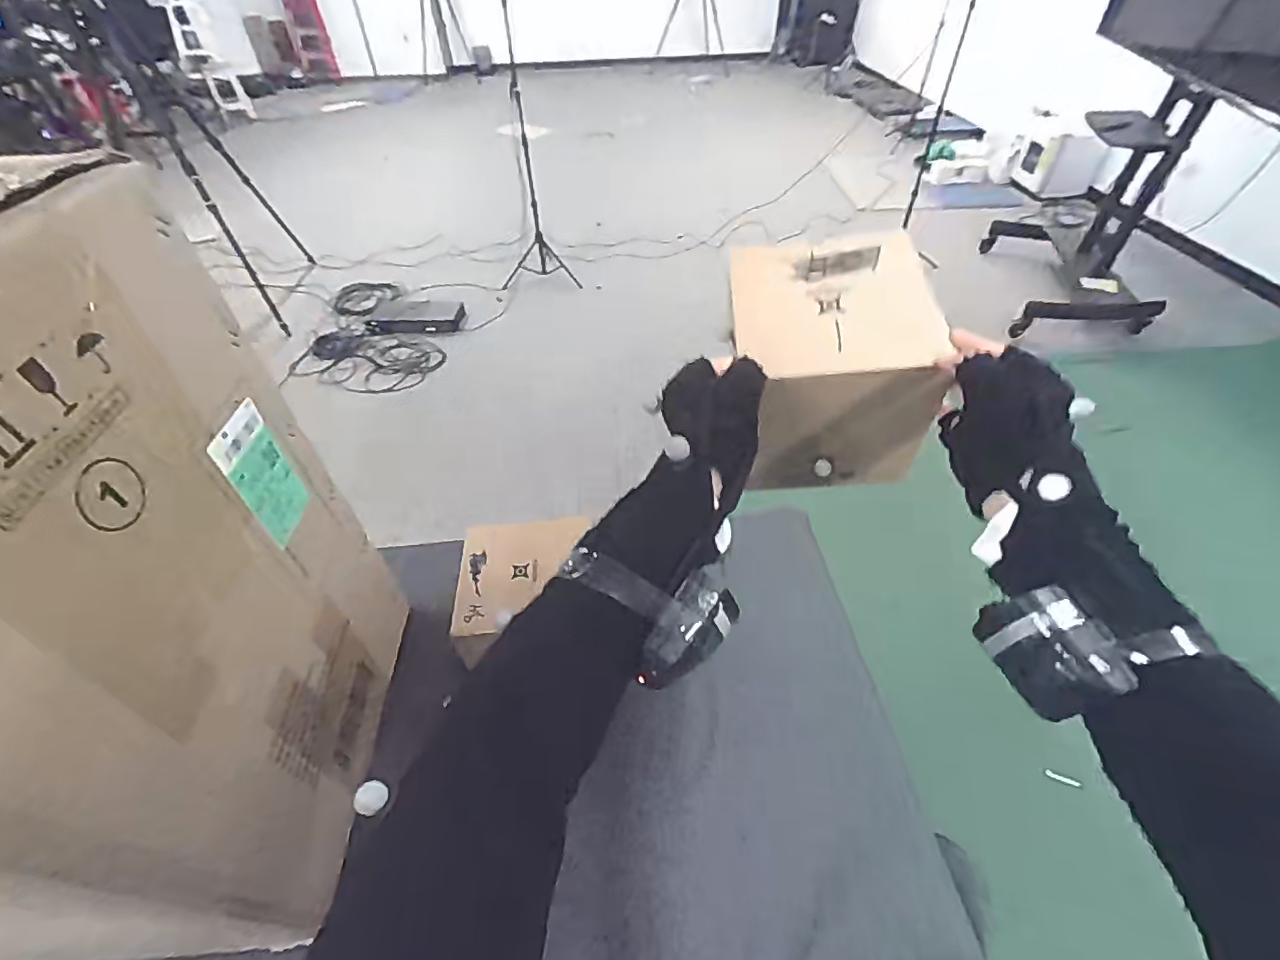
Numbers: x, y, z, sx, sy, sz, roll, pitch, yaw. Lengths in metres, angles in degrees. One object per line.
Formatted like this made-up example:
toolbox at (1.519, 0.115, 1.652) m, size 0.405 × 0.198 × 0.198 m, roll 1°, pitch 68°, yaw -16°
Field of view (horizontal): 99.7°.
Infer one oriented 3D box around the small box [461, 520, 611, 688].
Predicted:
small box at (-0.130, 0.173, 0.751) m, size 0.179 × 0.176 × 0.168 m, roll -4°, pitch 46°, yaw -3°

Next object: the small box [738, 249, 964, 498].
small box at (0.186, -0.100, 0.542) m, size 0.168 × 0.176 × 0.179 m, roll -4°, pitch 56°, yaw 8°
